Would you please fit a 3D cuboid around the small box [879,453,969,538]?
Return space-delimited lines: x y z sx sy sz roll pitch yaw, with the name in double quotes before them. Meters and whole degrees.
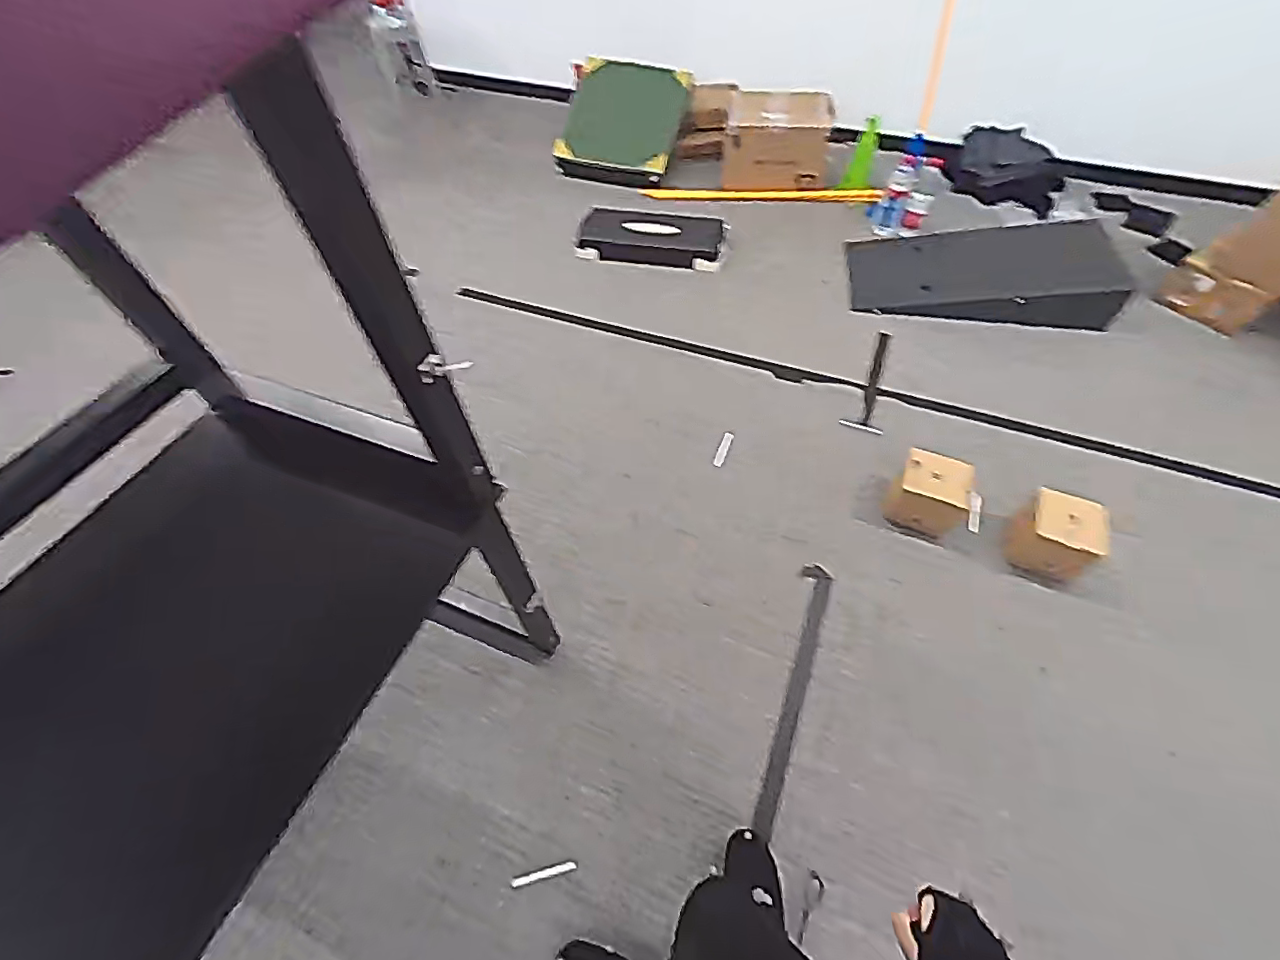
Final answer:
"small box" 0.850 0.052 1.623 0.179 0.176 0.168 21 58 13

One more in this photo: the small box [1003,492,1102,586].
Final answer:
"small box" 1.167 0.170 1.538 0.168 0.176 0.179 20 58 15
